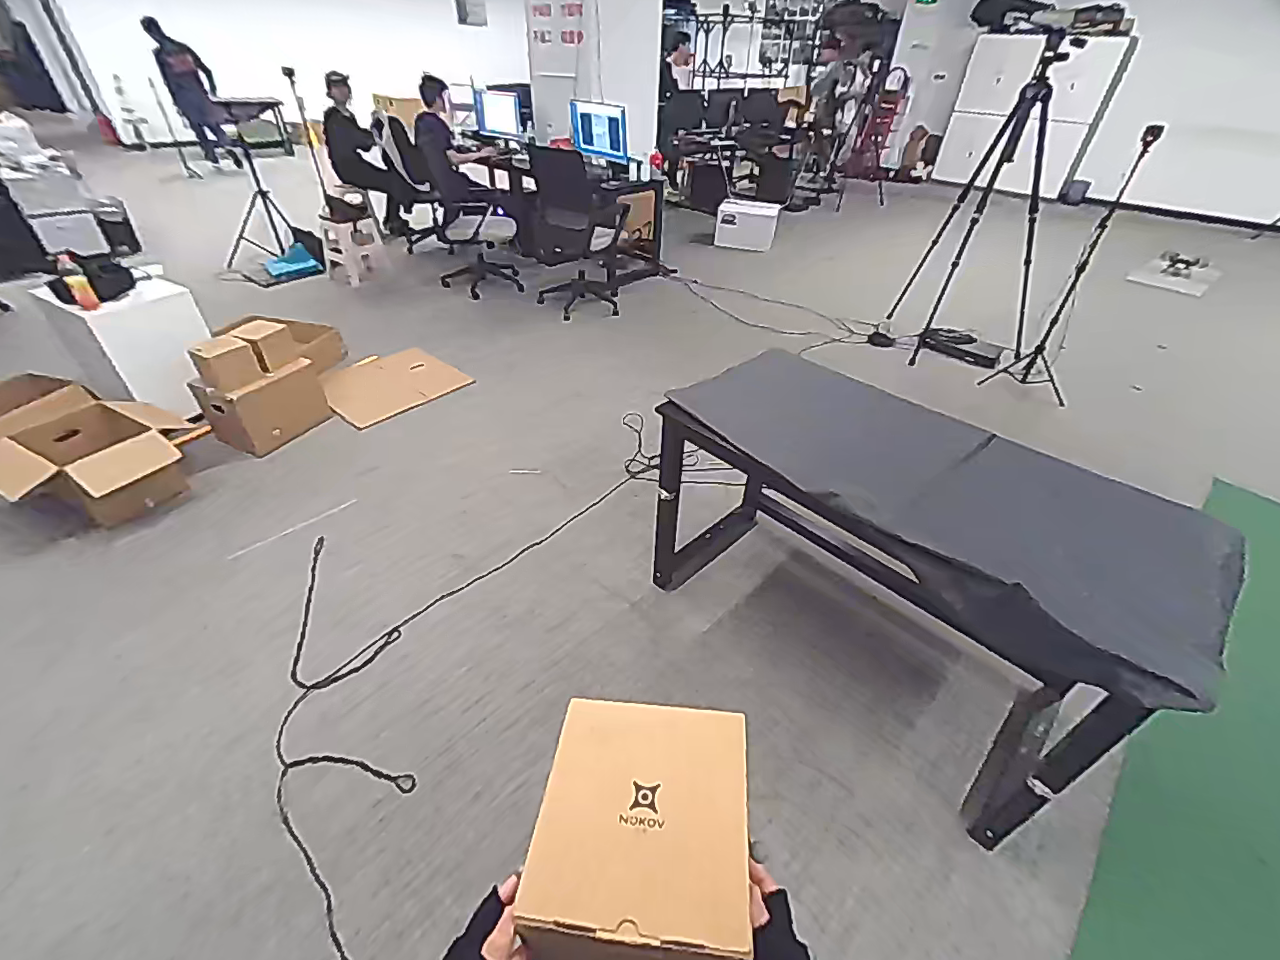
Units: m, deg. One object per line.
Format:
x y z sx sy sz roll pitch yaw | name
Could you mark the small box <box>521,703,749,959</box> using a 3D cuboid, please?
0.008 0.334 0.488 0.168 0.176 0.179 2 35 8 | small box
